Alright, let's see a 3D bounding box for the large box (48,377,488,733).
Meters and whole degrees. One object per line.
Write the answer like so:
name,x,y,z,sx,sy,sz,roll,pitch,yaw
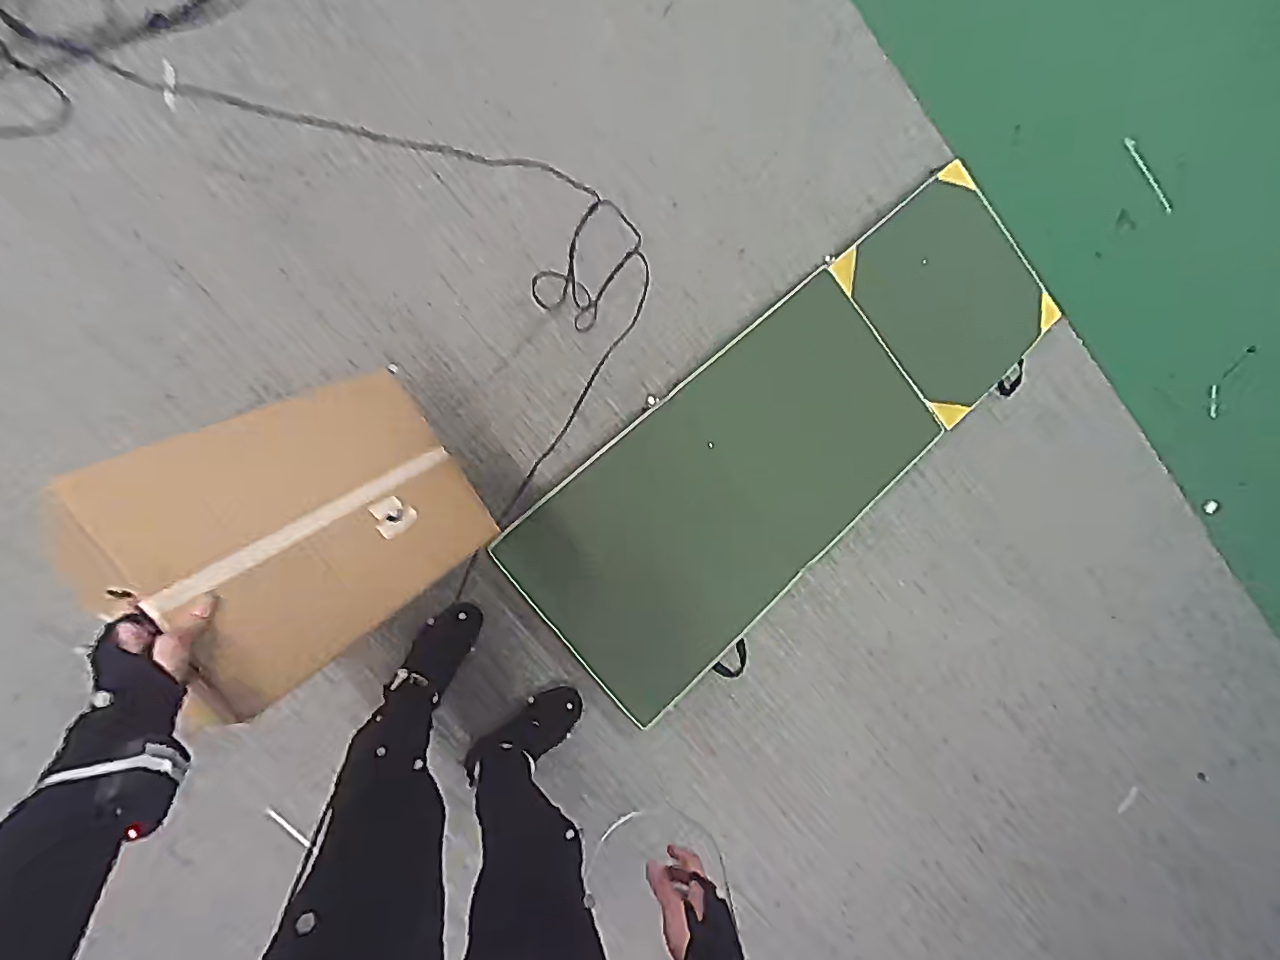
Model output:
large box,-0.525,0.104,0.810,0.320,0.320,0.408,58,39,-10
